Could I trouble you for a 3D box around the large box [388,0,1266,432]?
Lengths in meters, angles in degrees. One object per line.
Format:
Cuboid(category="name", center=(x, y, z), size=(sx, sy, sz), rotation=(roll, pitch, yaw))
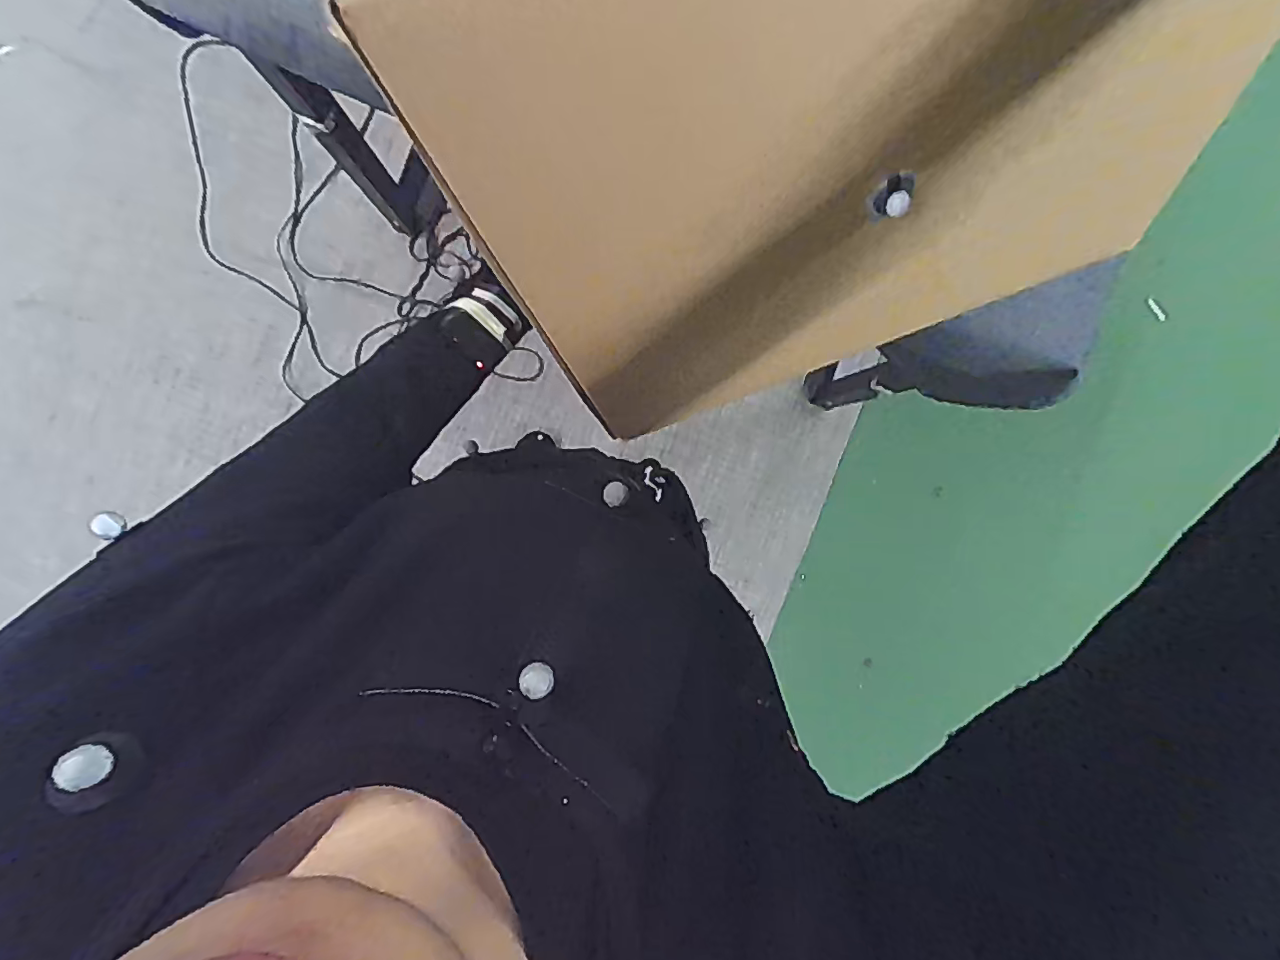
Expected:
Cuboid(category="large box", center=(0.096, -0.292, 0.362), size=(0.408, 0.320, 0.320), rotation=(-22, 62, 8))
